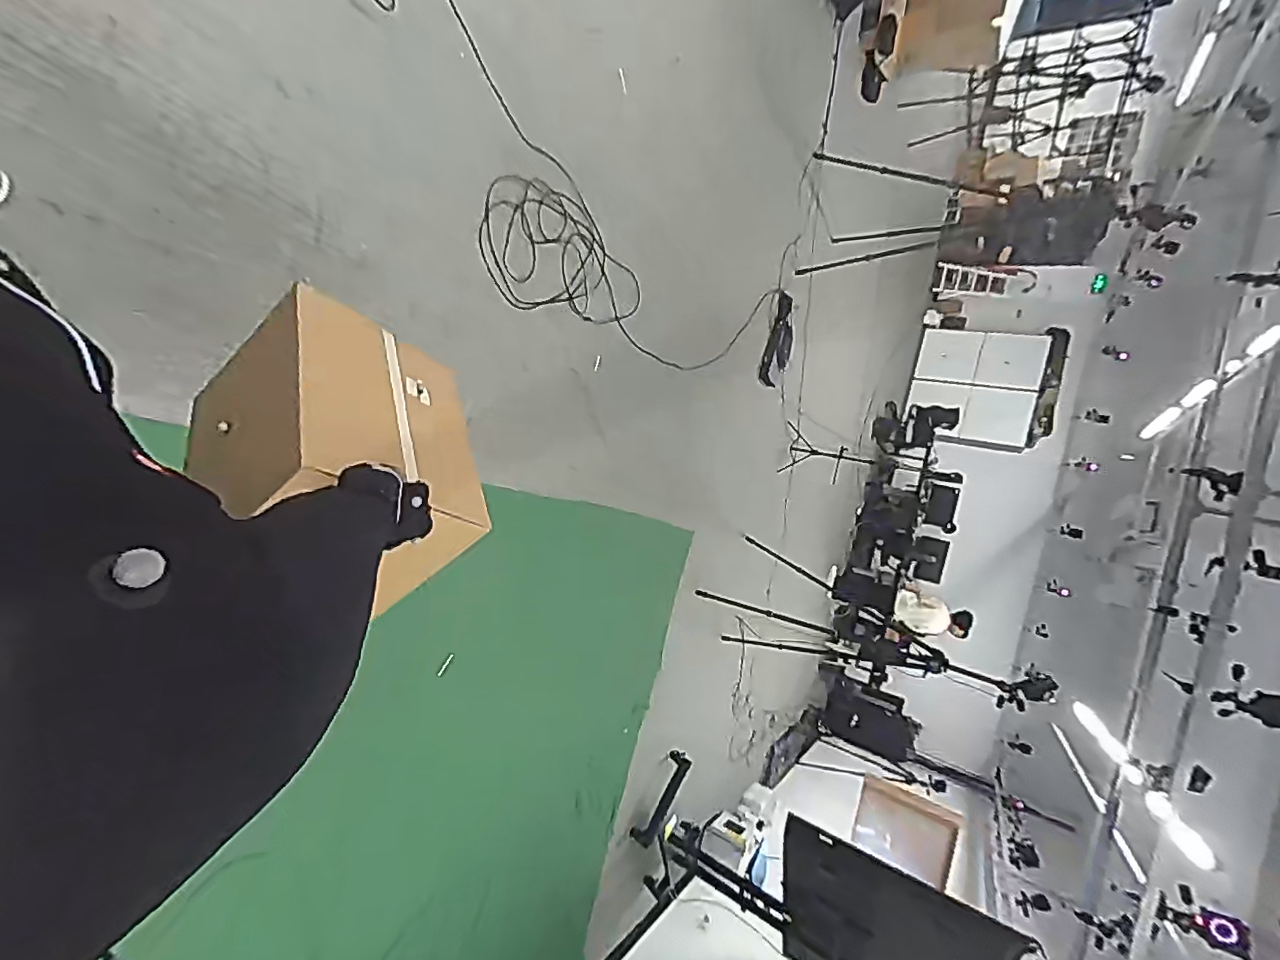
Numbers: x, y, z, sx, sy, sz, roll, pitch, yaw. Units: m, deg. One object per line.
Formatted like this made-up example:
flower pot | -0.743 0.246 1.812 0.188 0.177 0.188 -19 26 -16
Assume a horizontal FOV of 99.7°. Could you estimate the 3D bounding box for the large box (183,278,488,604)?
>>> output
large box | -0.520 -0.045 0.931 0.320 0.408 0.320 -36 146 16
